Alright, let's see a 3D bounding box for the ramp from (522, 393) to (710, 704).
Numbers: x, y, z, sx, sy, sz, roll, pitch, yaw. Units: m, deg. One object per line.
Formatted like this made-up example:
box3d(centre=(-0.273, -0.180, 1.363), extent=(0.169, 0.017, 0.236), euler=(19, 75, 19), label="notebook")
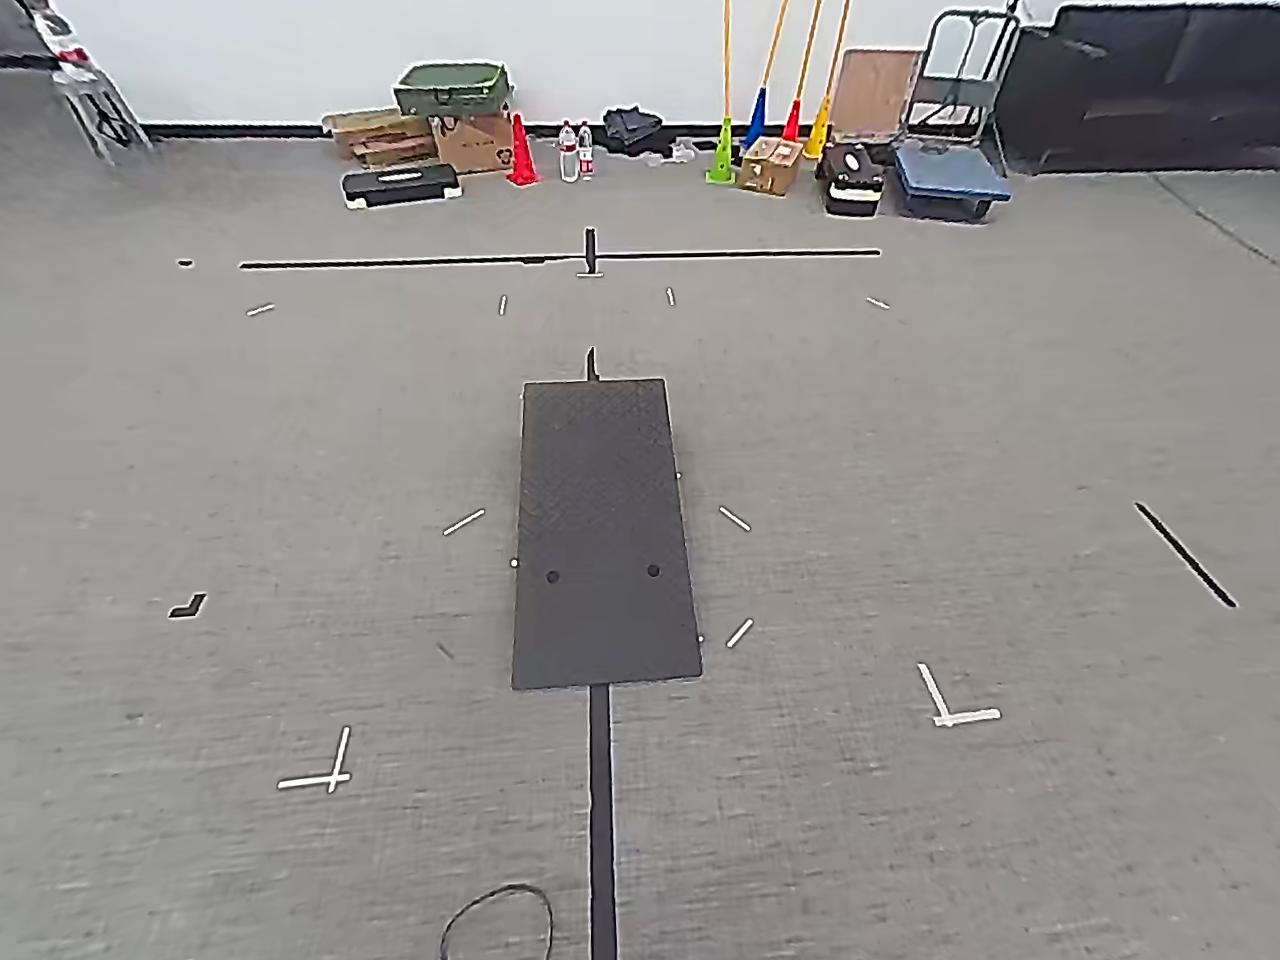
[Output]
box3d(centre=(-0.101, 0.131, 1.639), extent=(0.509, 0.206, 0.991), euler=(-4, 48, -6), label="ramp")
